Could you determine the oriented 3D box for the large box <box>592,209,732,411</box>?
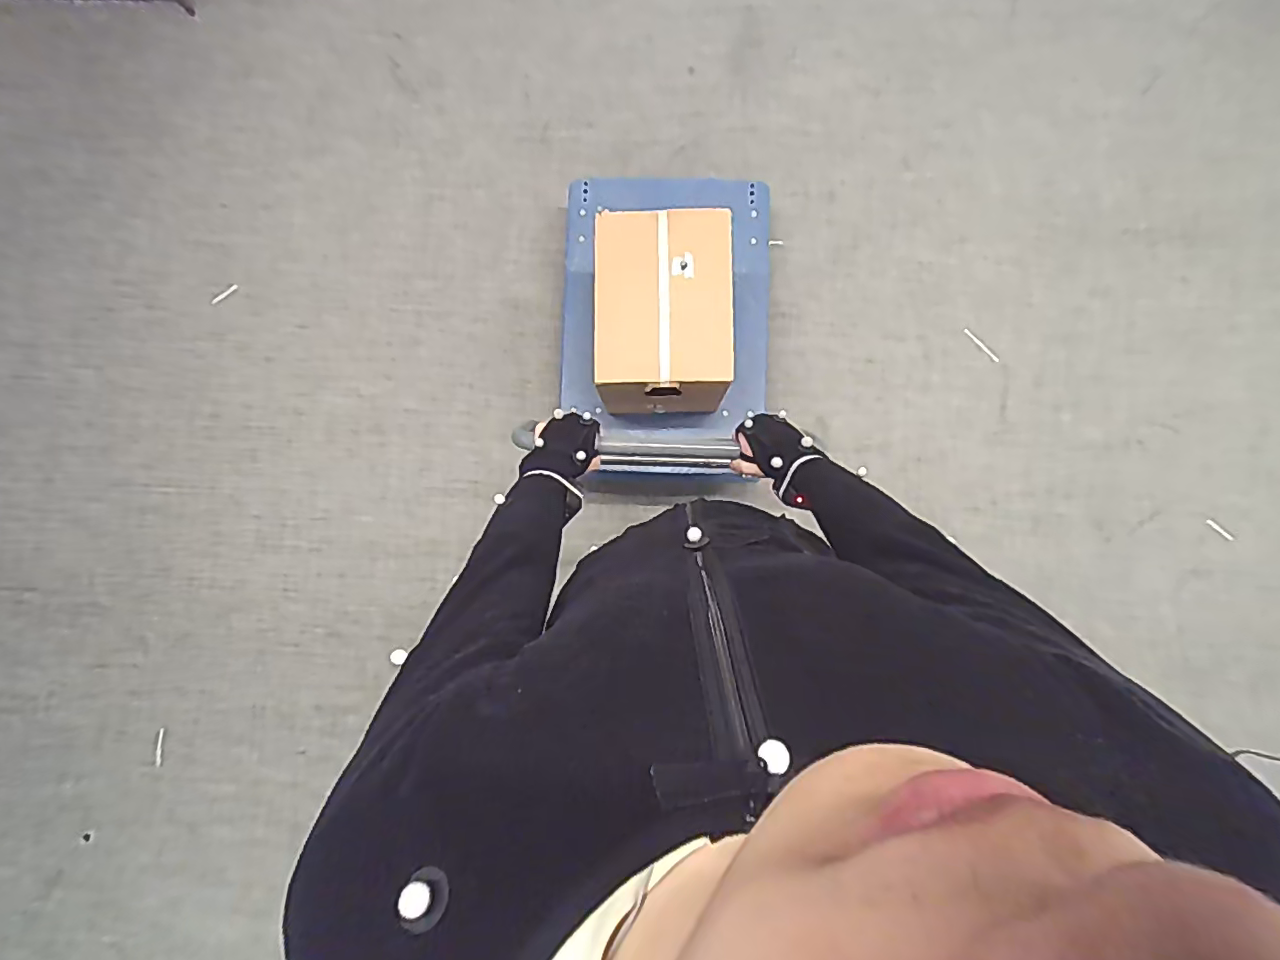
[{"bbox_3d":[0.054,-0.407,1.375,0.320,0.320,0.408,-1,85,2],"label":"large box"}]
